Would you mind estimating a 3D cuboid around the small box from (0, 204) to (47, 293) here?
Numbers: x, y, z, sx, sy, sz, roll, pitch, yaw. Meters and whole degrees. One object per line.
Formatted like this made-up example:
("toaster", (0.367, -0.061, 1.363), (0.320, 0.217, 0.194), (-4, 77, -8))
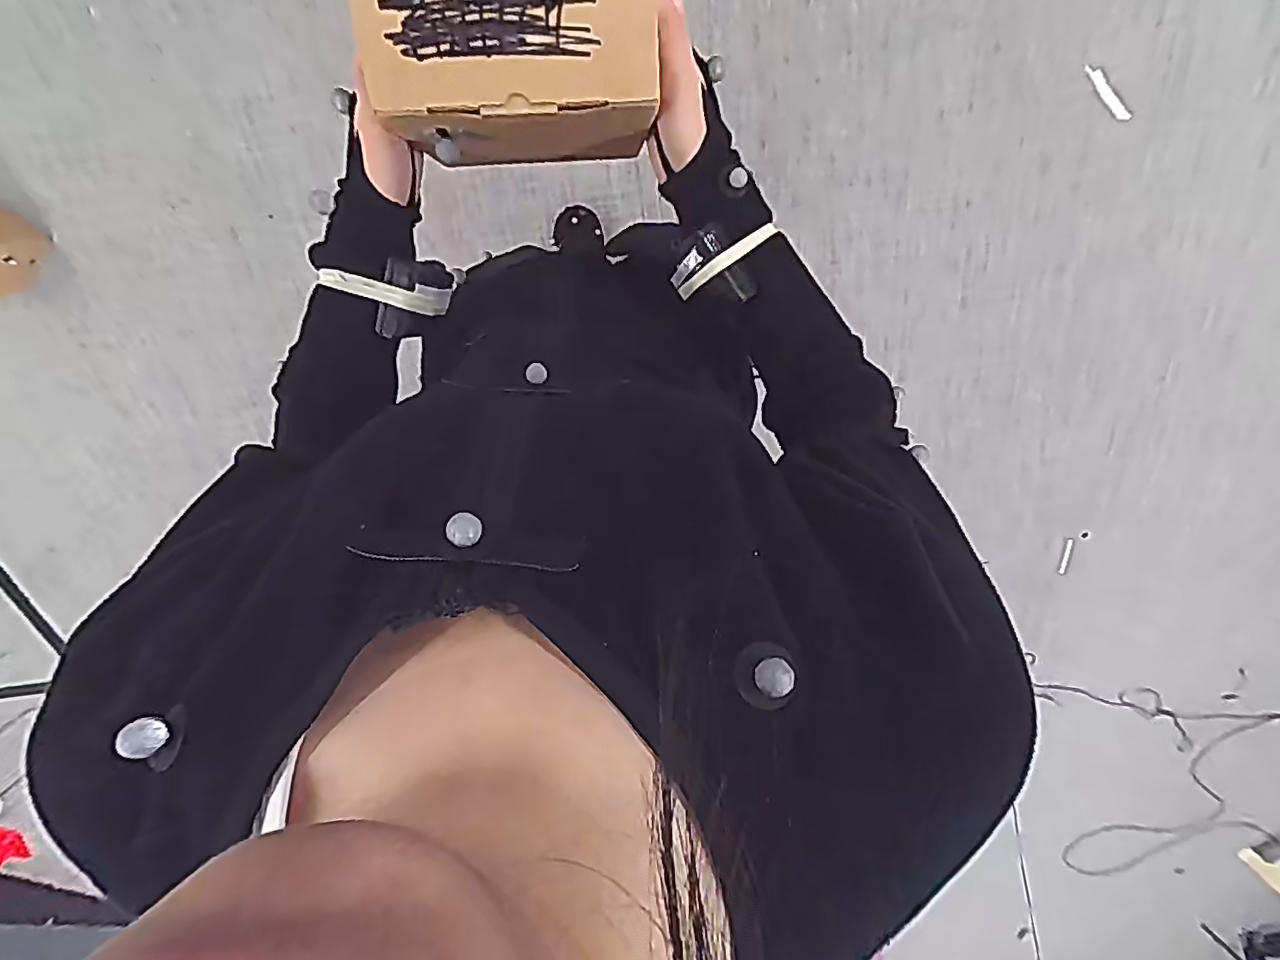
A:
("small box", (-1.454, -0.513, 1.154), (0.179, 0.176, 0.168), (41, 106, -20))
